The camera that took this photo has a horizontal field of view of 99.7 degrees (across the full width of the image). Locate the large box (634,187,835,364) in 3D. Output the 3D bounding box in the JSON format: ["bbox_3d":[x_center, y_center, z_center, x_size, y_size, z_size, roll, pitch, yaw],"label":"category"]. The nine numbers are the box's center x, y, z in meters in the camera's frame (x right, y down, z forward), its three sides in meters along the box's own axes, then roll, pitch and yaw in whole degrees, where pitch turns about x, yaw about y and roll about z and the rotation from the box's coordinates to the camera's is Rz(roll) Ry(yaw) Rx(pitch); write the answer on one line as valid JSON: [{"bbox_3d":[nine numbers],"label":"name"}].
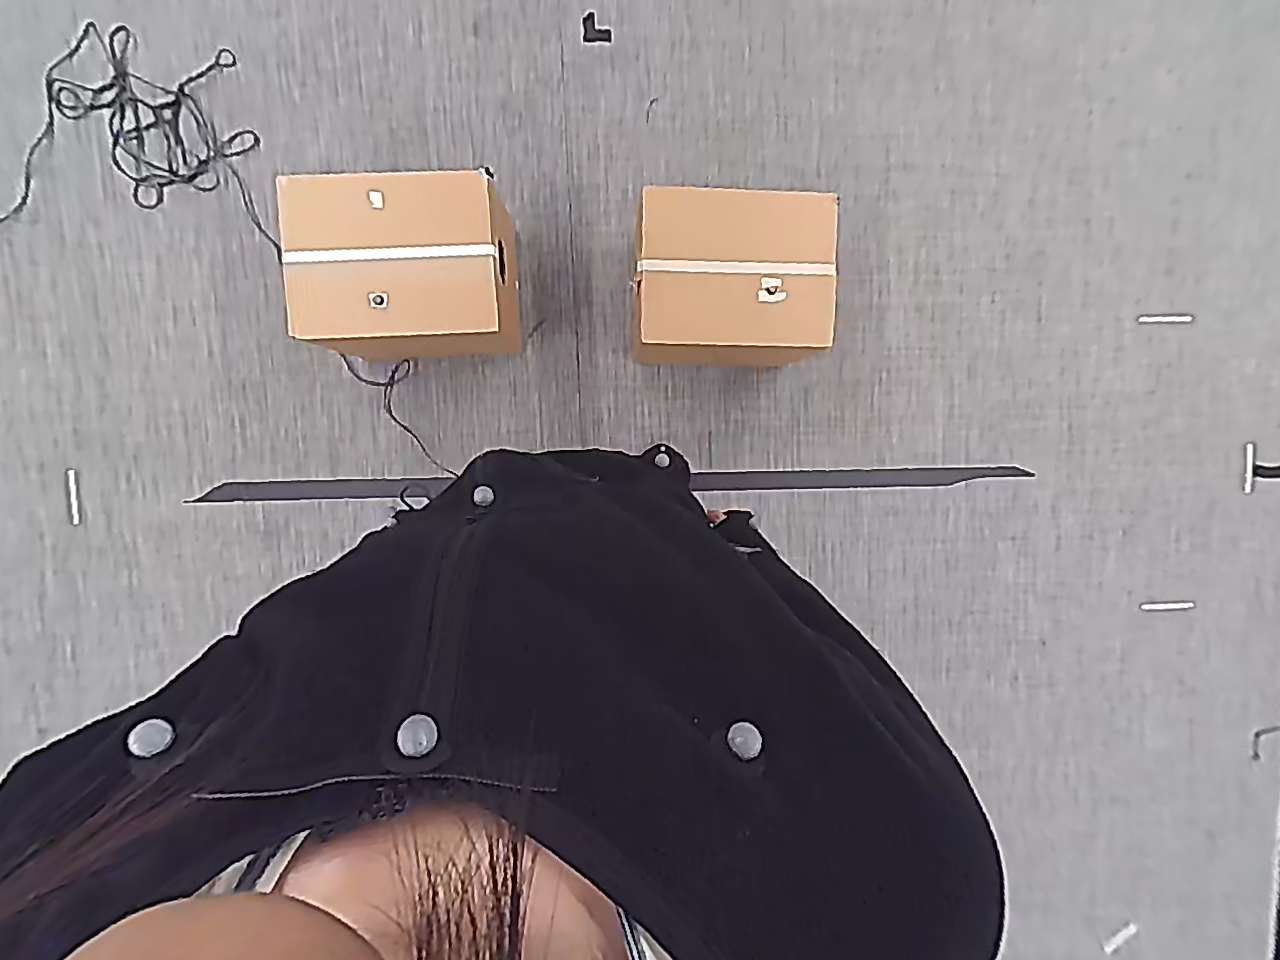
[{"bbox_3d":[0.194,-0.448,1.262,0.408,0.320,0.320,1,95,-4],"label":"large box"}]
